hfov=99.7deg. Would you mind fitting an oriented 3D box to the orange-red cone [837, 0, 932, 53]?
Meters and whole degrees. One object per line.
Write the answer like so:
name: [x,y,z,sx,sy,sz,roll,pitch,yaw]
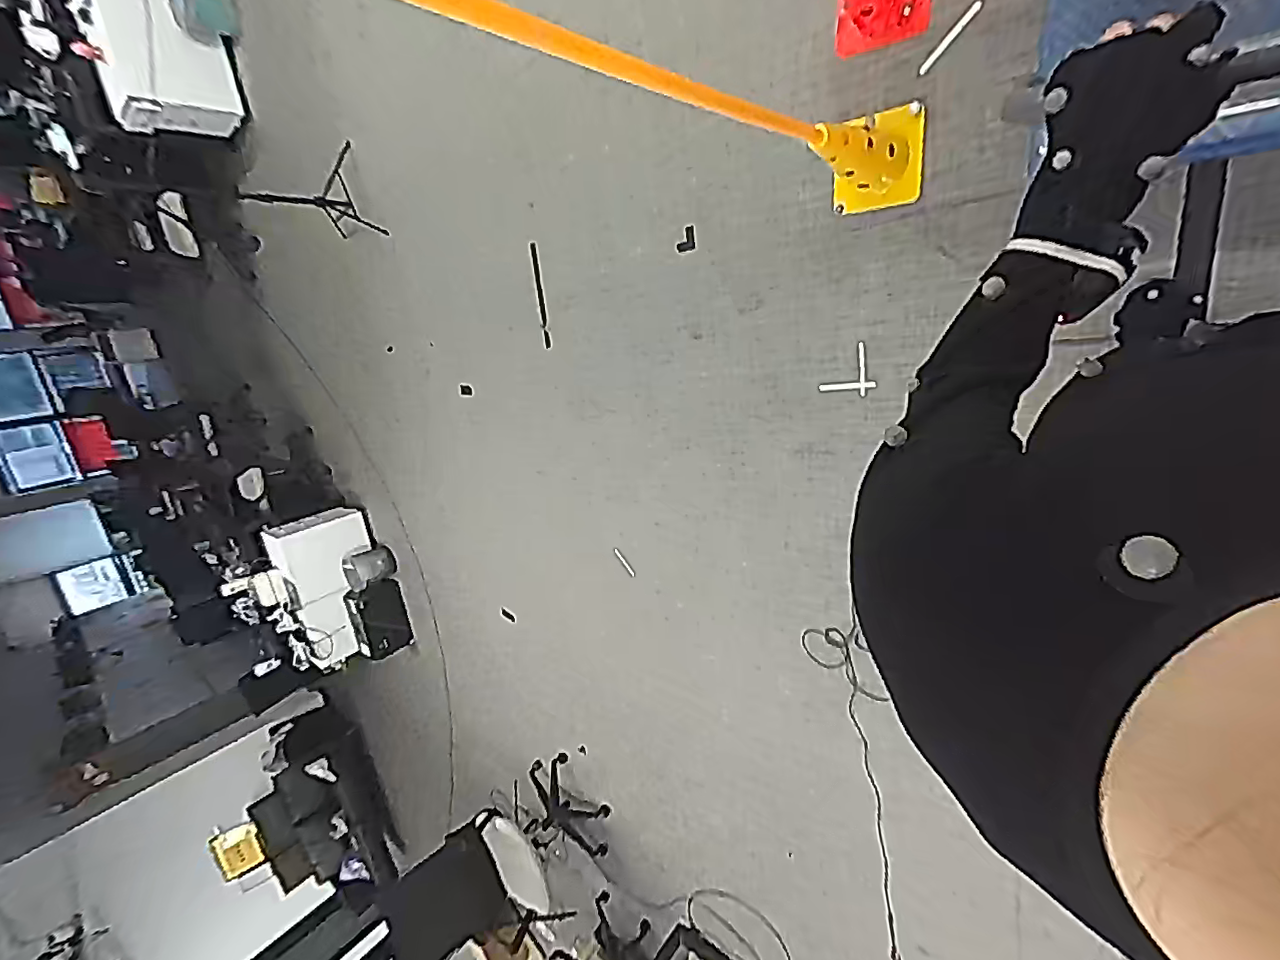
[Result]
orange-red cone: [0.421,-1.013,1.043,0.198,0.360,0.199,14,114,37]
